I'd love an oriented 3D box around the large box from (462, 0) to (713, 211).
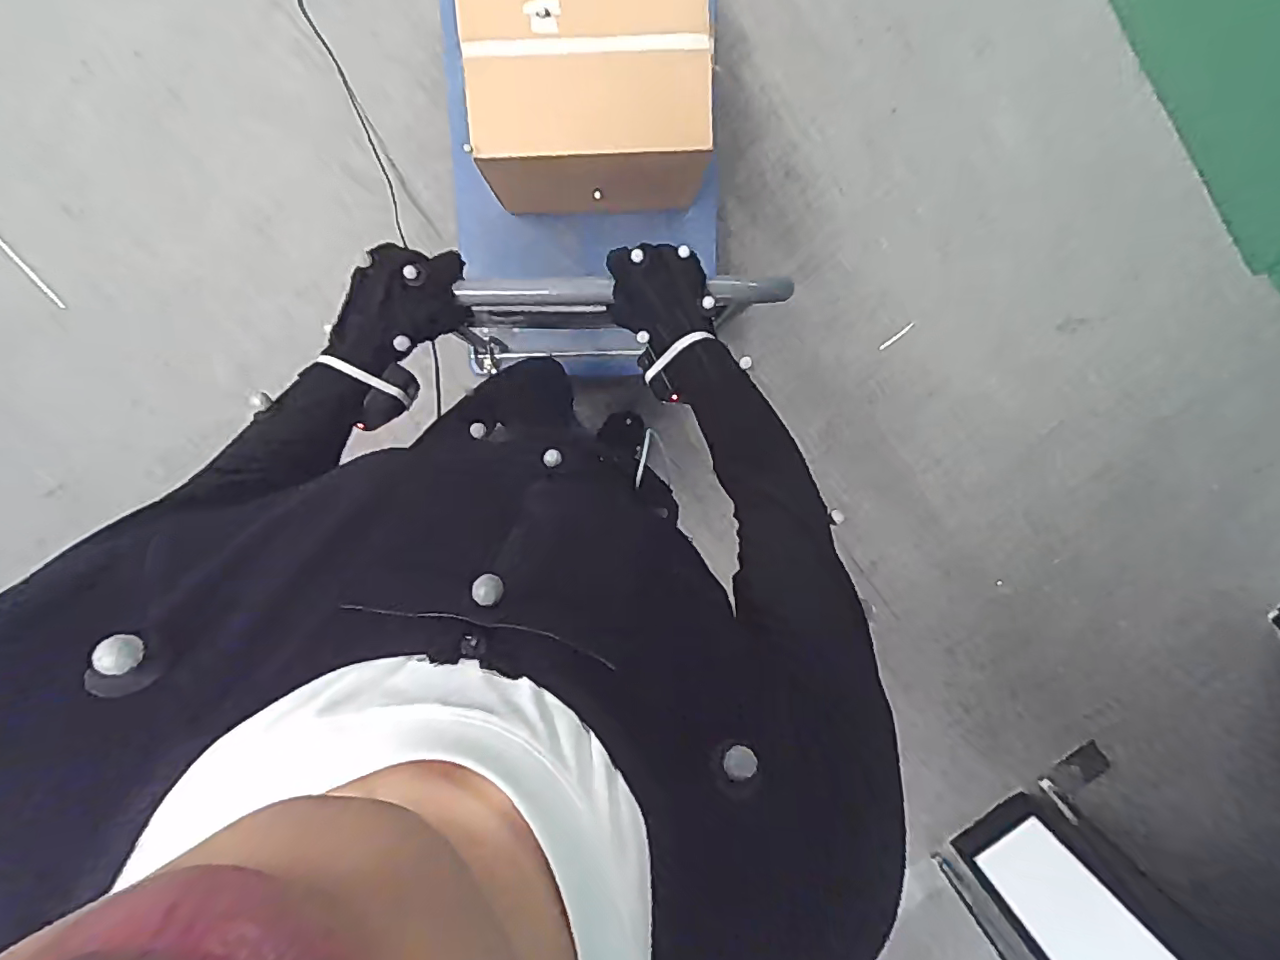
[{"bbox_3d":[-0.087,-0.726,1.028,0.408,0.320,0.320,-3,100,-2],"label":"large box"}]
